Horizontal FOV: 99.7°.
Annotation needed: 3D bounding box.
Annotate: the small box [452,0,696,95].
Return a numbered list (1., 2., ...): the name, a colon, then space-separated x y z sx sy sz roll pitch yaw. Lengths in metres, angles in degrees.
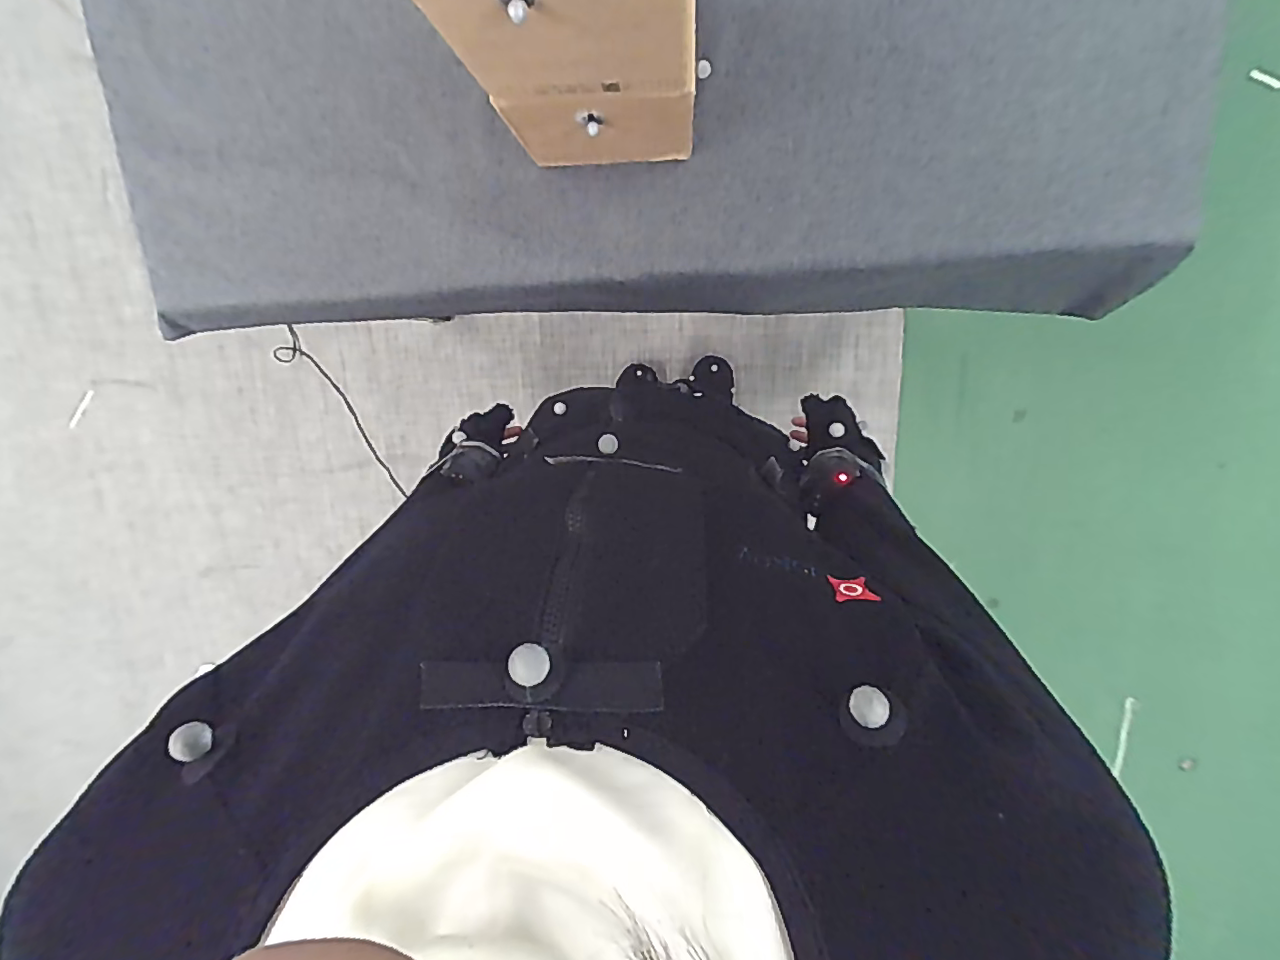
1. small box: -0.047 -0.394 0.357 0.168 0.176 0.179 -1 105 4

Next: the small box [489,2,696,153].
1. small box: -0.036 -0.430 0.514 0.179 0.176 0.168 0 104 4
